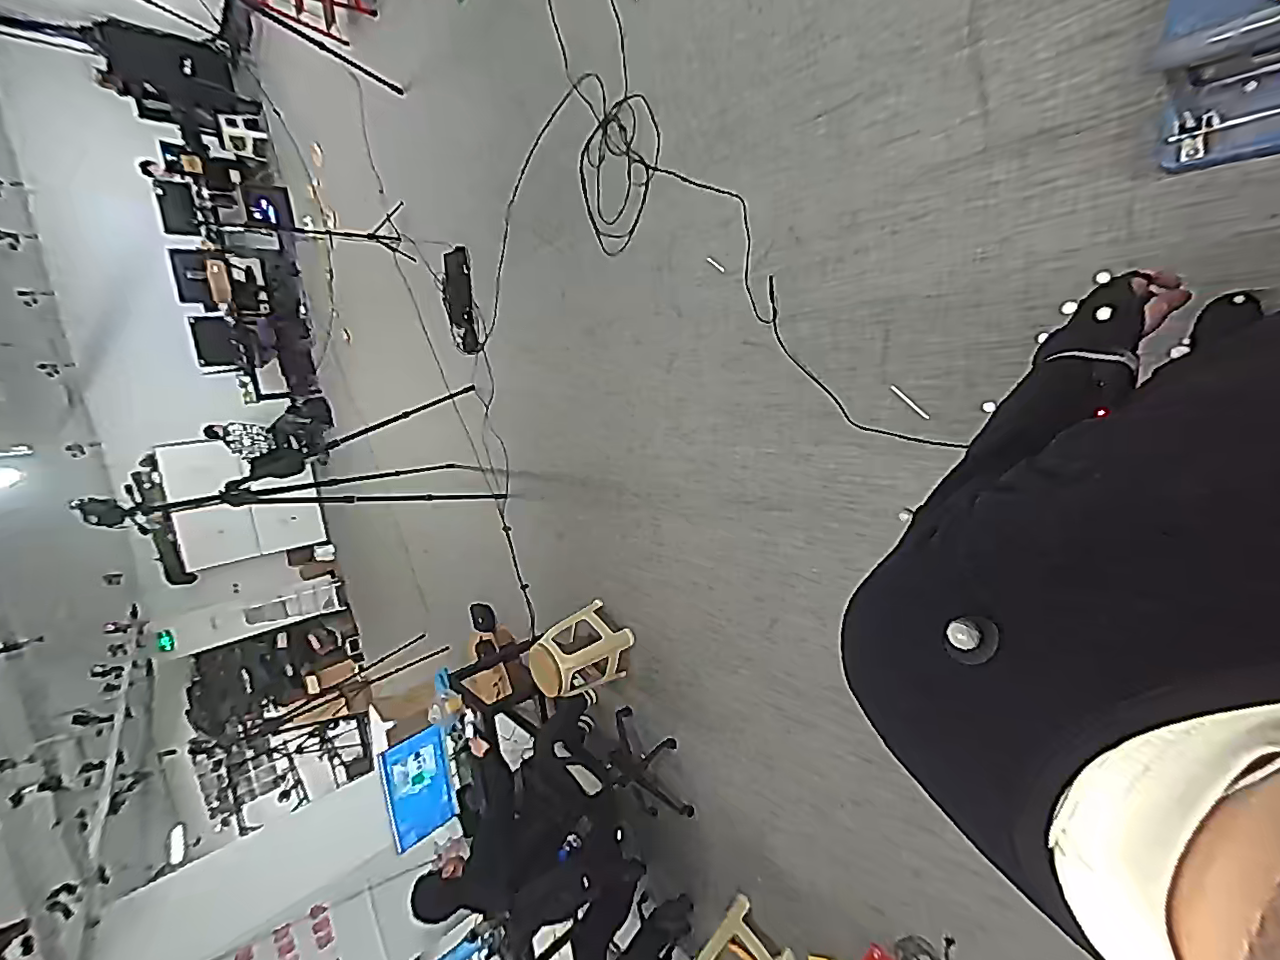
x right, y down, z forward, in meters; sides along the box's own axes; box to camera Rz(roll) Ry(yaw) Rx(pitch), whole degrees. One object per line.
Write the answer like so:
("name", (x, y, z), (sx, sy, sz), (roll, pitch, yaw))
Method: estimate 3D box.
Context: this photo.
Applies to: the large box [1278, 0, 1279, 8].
("large box", (1.032, -0.829, 0.660), (0.320, 0.320, 0.408), (5, 104, 48))
